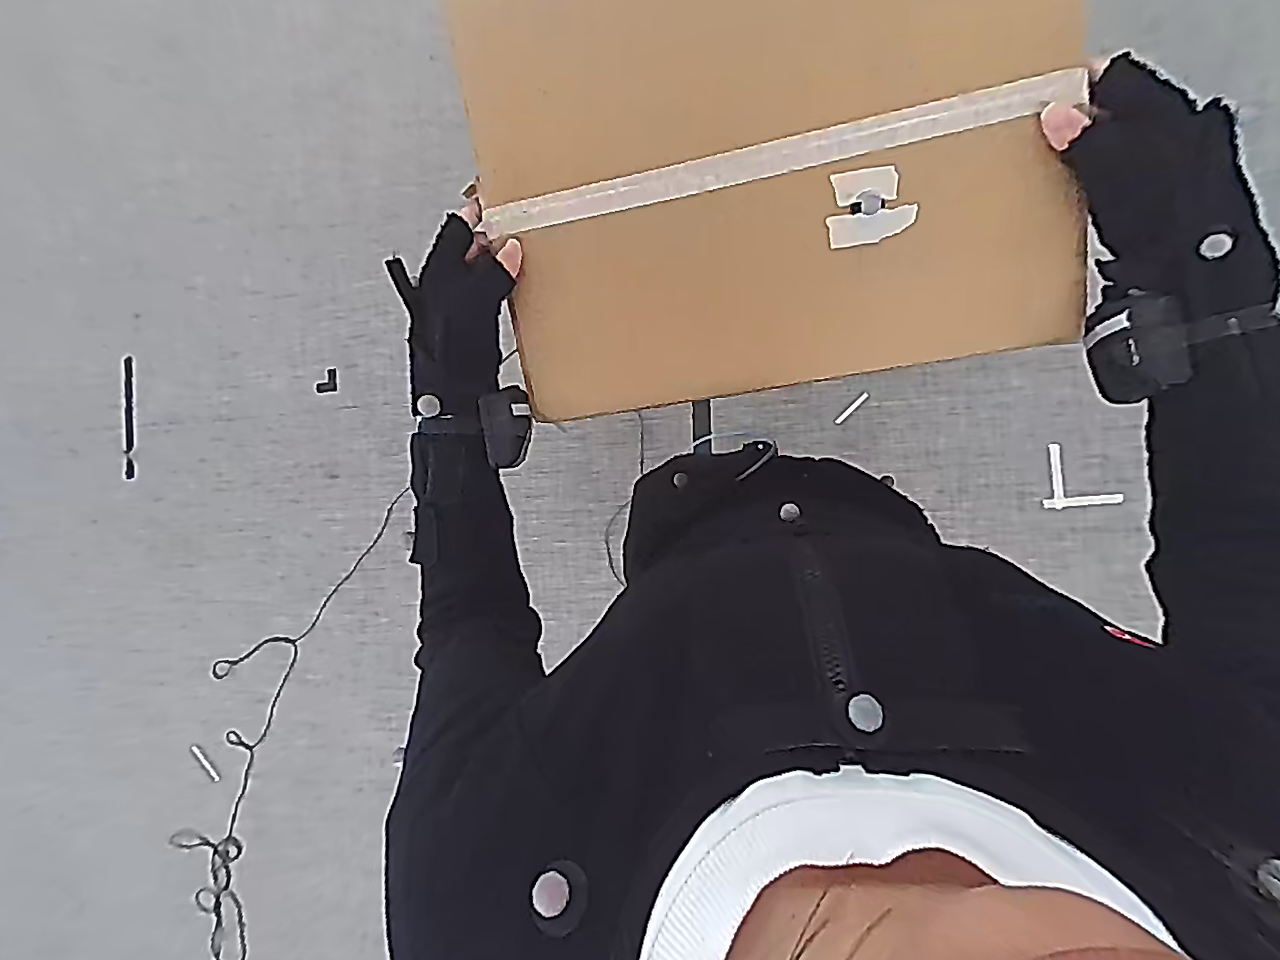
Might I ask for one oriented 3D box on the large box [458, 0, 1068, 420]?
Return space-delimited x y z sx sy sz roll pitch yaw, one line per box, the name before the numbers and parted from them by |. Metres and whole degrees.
large box | 0.103 -0.261 0.533 0.408 0.320 0.320 -9 103 9
